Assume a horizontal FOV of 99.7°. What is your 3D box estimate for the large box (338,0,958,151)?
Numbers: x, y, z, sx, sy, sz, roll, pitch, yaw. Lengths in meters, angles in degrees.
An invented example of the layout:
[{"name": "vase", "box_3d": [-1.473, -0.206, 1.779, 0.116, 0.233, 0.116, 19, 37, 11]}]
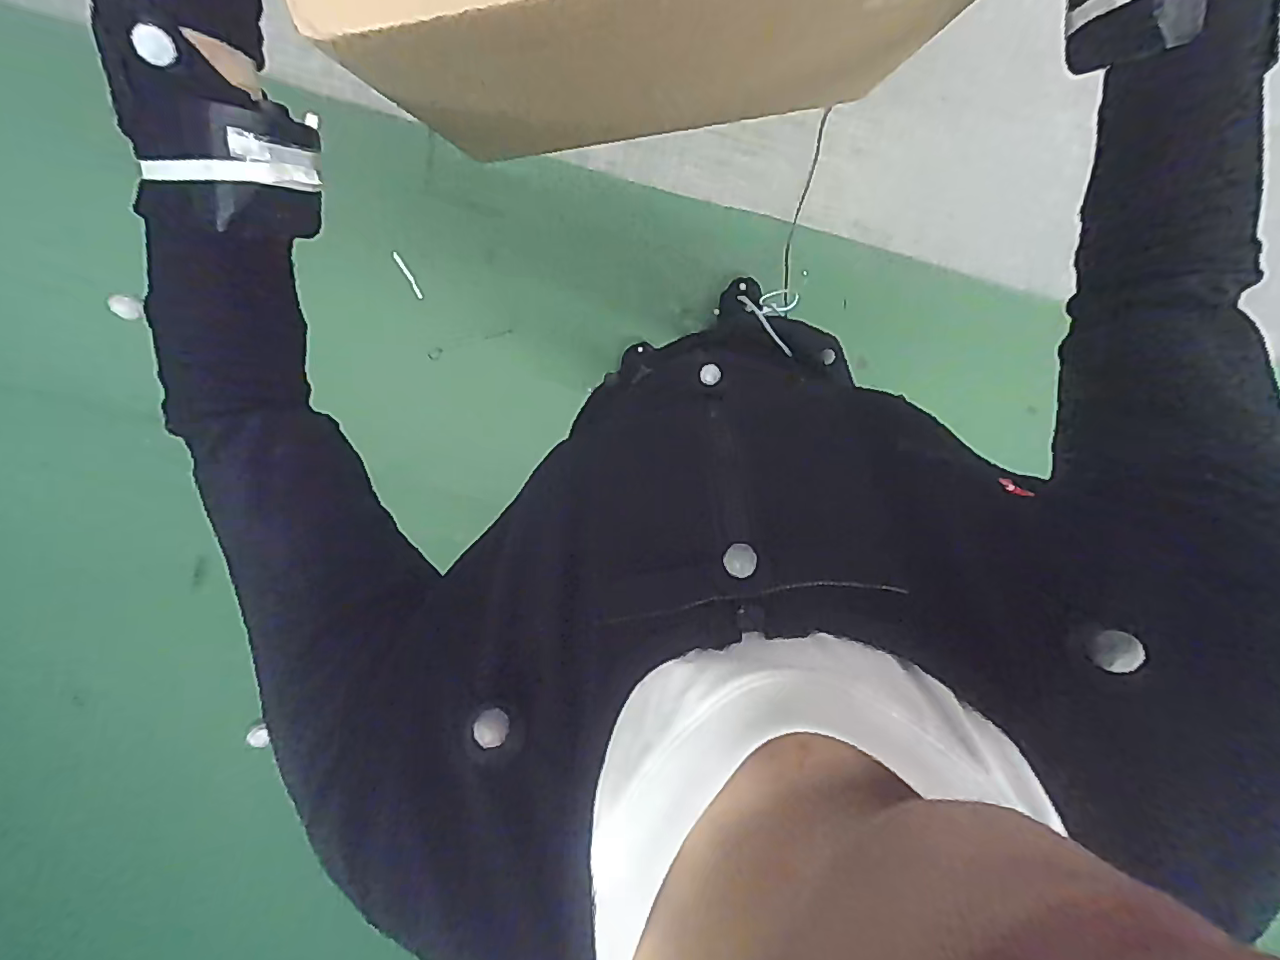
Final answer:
[{"name": "large box", "box_3d": [0.013, -0.459, 0.363, 0.408, 0.320, 0.320, -8, 111, 3]}]
